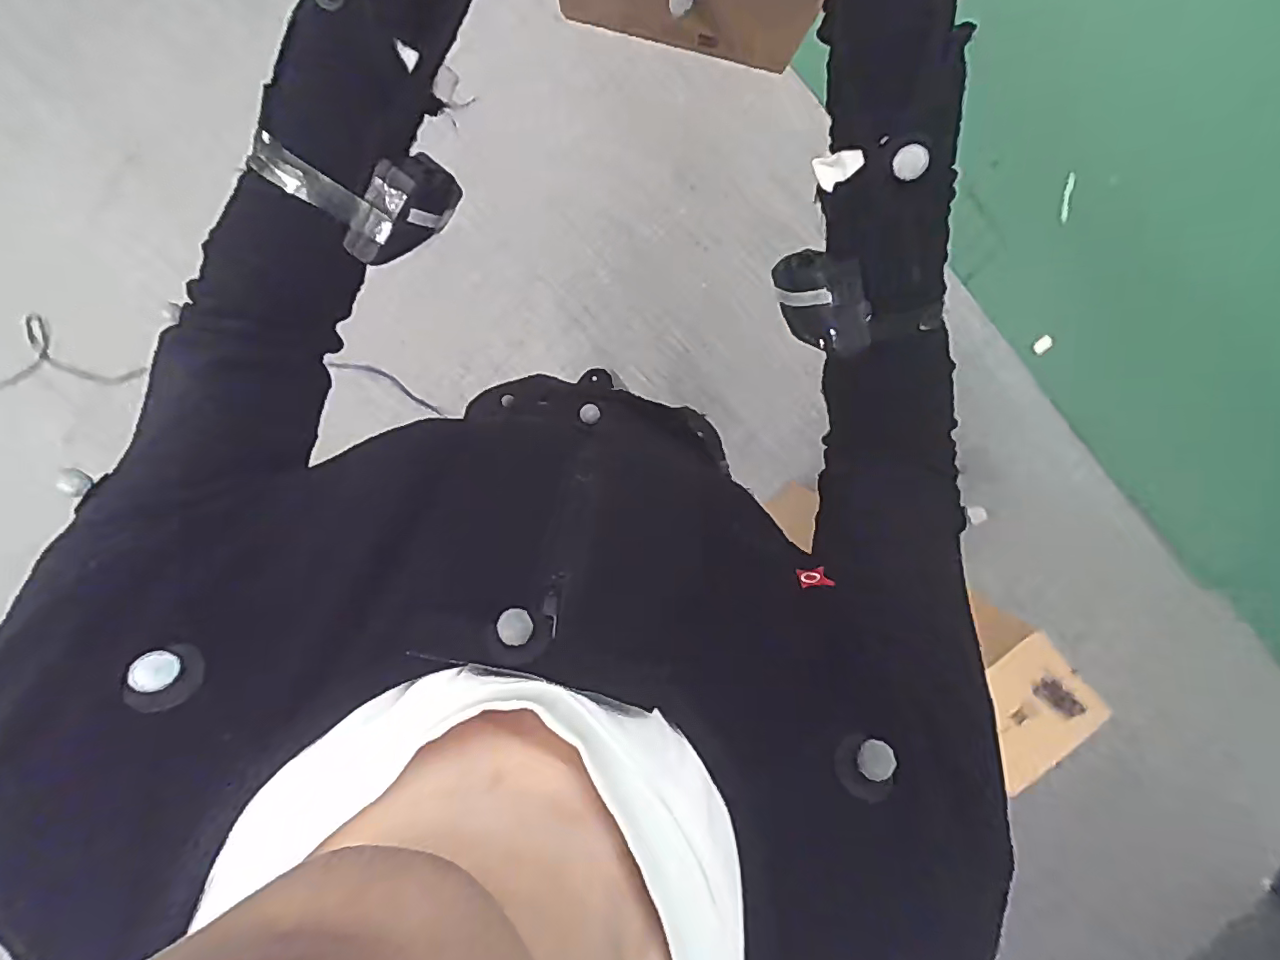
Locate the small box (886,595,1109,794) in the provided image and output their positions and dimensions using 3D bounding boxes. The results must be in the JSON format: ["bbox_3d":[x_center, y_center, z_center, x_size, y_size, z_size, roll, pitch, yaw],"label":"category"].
[{"bbox_3d":[0.506,0.298,0.793,0.179,0.176,0.168,-42,94,4],"label":"small box"}]
